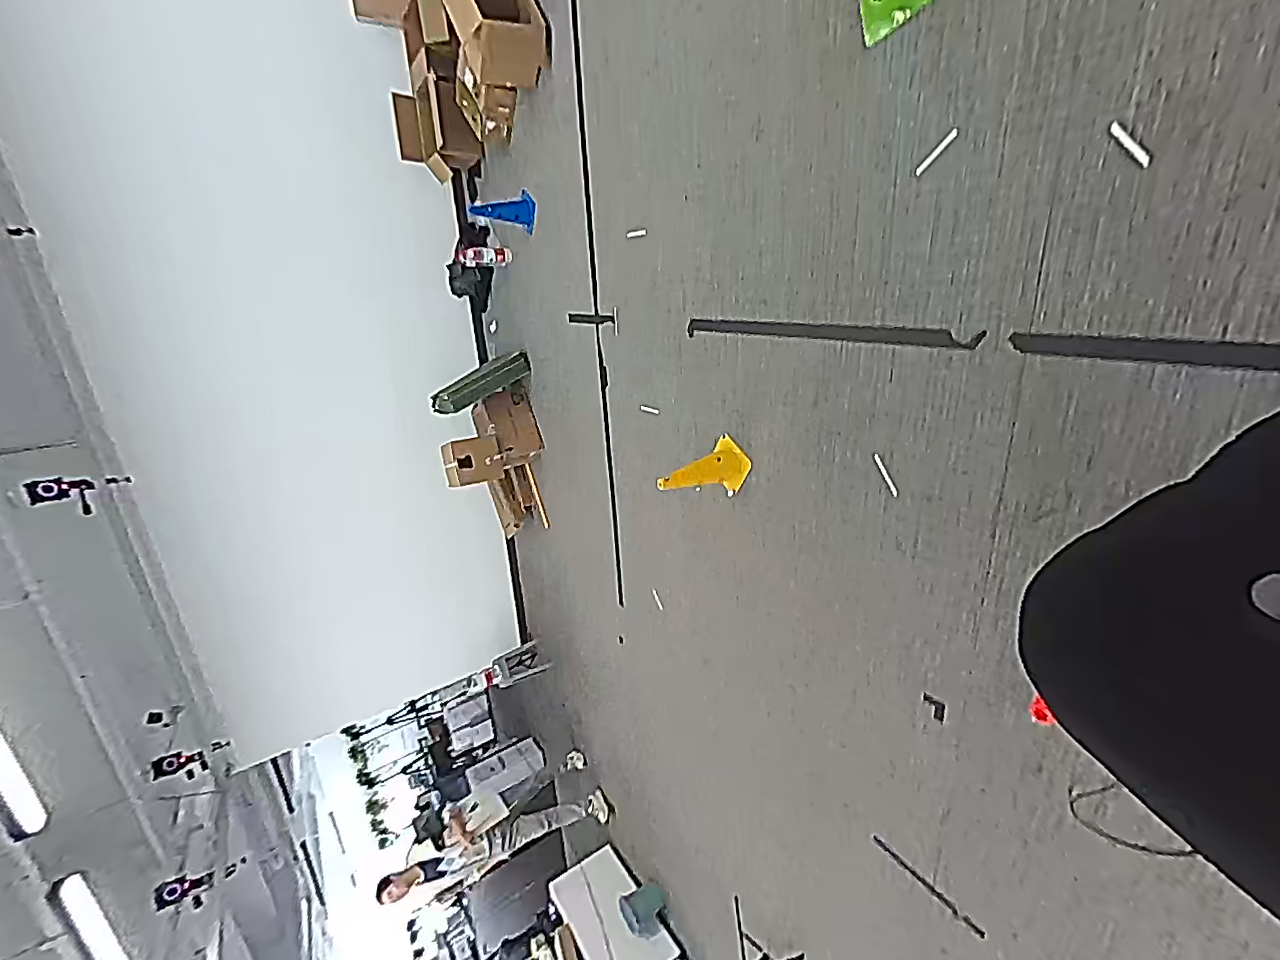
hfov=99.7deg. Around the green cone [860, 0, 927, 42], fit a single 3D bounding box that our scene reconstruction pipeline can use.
[{"bbox_3d":[0.486,-1.190,1.229,0.202,0.368,0.200,-2,102,58],"label":"green cone"}]
